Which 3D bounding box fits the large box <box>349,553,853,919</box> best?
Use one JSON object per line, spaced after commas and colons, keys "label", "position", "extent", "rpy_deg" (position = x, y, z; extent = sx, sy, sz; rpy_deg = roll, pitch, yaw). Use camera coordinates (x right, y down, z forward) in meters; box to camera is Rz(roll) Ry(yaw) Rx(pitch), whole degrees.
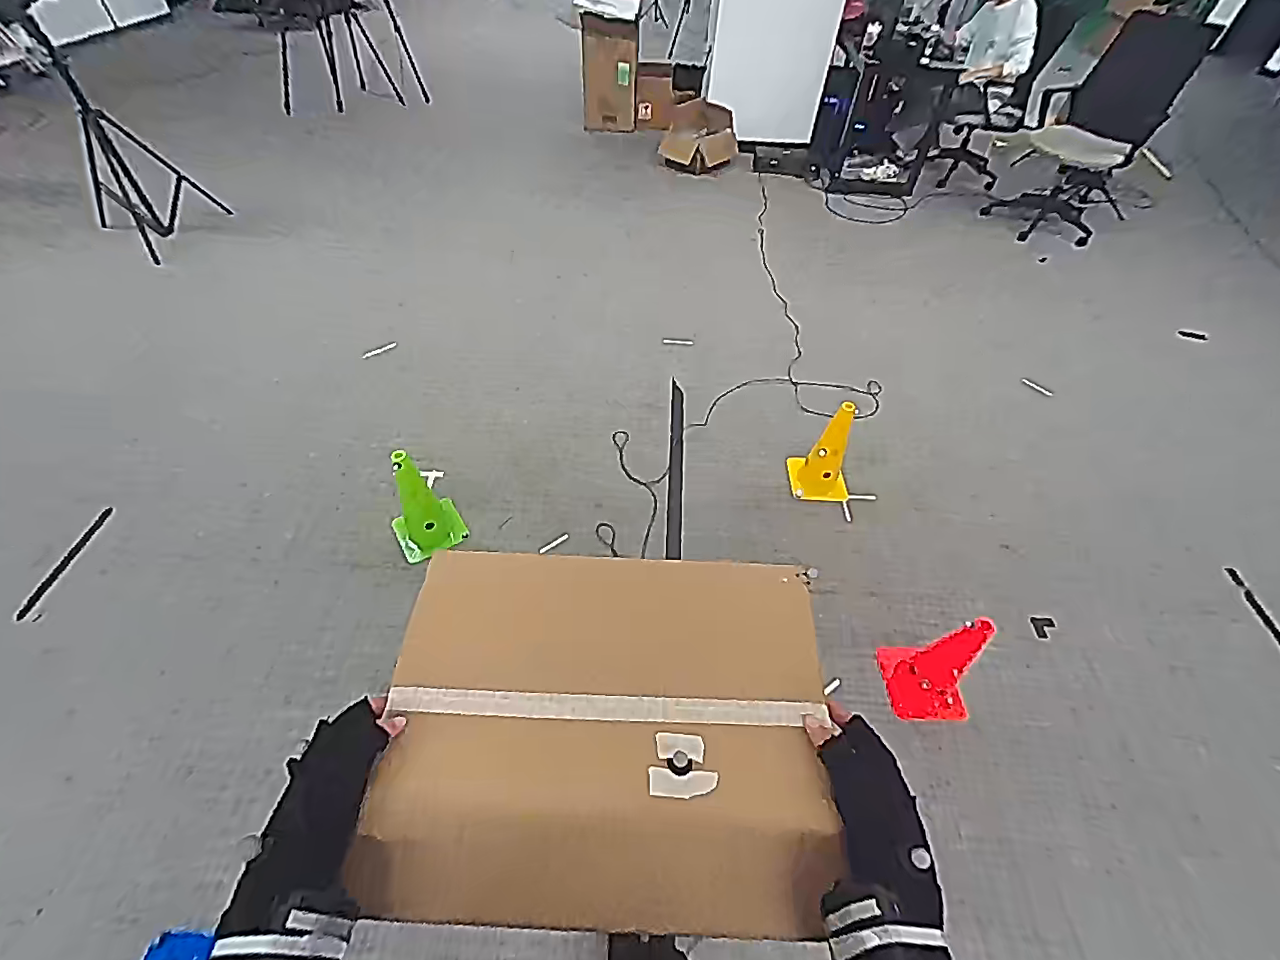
{"label": "large box", "position": [-0.031, 0.301, 0.626], "extent": [0.408, 0.320, 0.320], "rpy_deg": [3, 53, 0]}

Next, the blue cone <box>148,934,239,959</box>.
{"label": "blue cone", "position": [-0.890, 0.891, 0.912], "extent": [0.192, 0.380, 0.193], "rpy_deg": [6, 49, 3]}

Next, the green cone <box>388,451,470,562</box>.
{"label": "green cone", "position": [-0.676, 0.045, 1.633], "extent": [0.202, 0.368, 0.200], "rpy_deg": [-27, 55, -22]}

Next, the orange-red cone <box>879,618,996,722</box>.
{"label": "orange-red cone", "position": [0.784, 0.447, 1.365], "extent": [0.198, 0.360, 0.199], "rpy_deg": [3, 48, -2]}
